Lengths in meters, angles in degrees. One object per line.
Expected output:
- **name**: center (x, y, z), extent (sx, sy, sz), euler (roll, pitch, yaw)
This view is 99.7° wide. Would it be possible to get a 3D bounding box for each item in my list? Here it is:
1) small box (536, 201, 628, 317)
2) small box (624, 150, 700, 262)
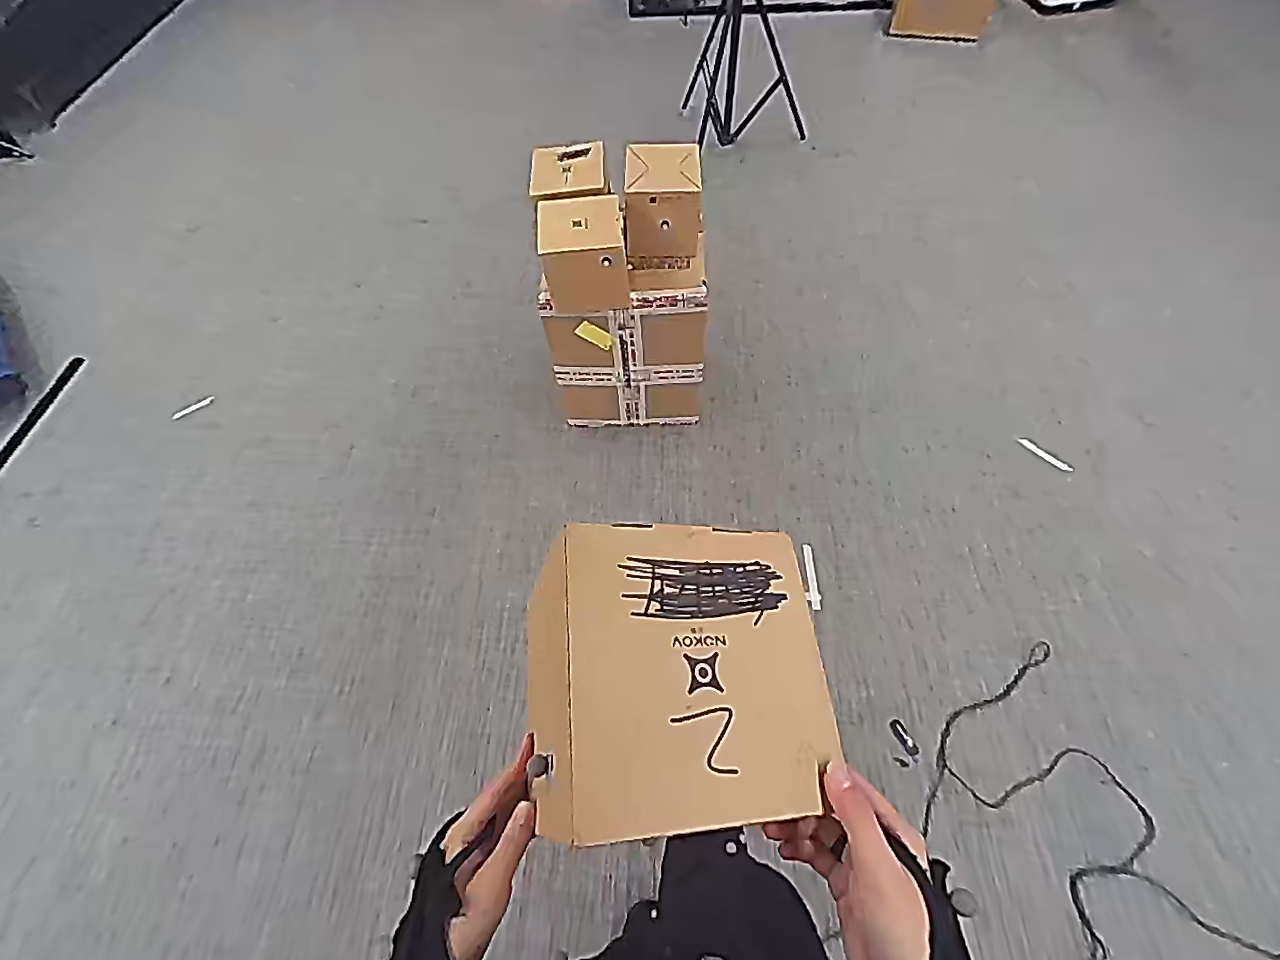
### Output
- **small box**: center (-0.123, -0.478, 1.185), extent (0.179, 0.176, 0.168), euler (-6, 62, 0)
- **small box**: center (0.047, -0.634, 1.258), extent (0.168, 0.176, 0.179), euler (0, 61, 0)
